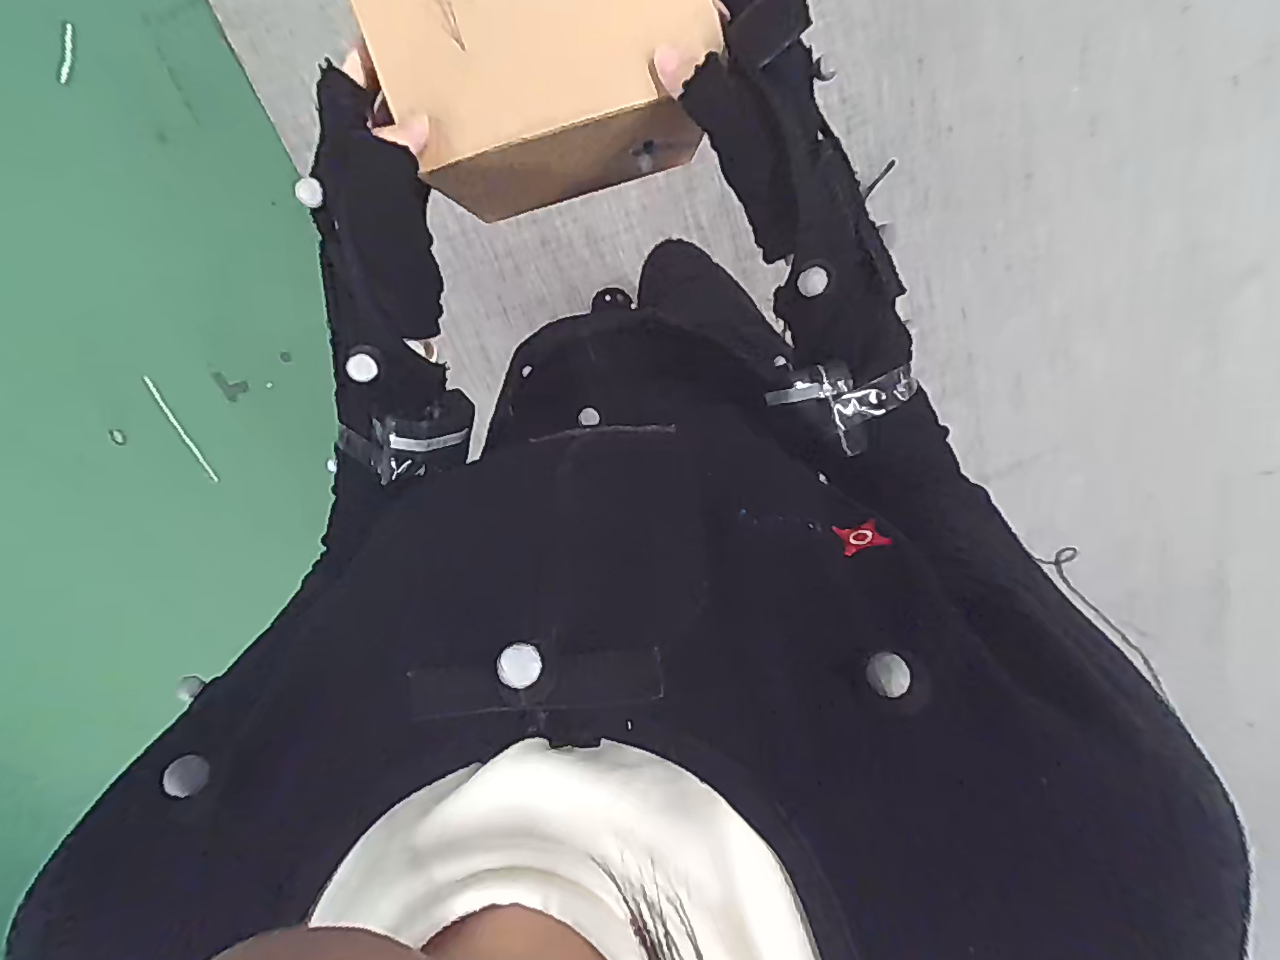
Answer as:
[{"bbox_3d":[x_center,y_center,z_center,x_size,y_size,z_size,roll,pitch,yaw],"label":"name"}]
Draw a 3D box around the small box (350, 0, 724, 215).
[{"bbox_3d":[-0.063,-0.287,0.336,0.179,0.176,0.168,-16,106,4],"label":"small box"}]
